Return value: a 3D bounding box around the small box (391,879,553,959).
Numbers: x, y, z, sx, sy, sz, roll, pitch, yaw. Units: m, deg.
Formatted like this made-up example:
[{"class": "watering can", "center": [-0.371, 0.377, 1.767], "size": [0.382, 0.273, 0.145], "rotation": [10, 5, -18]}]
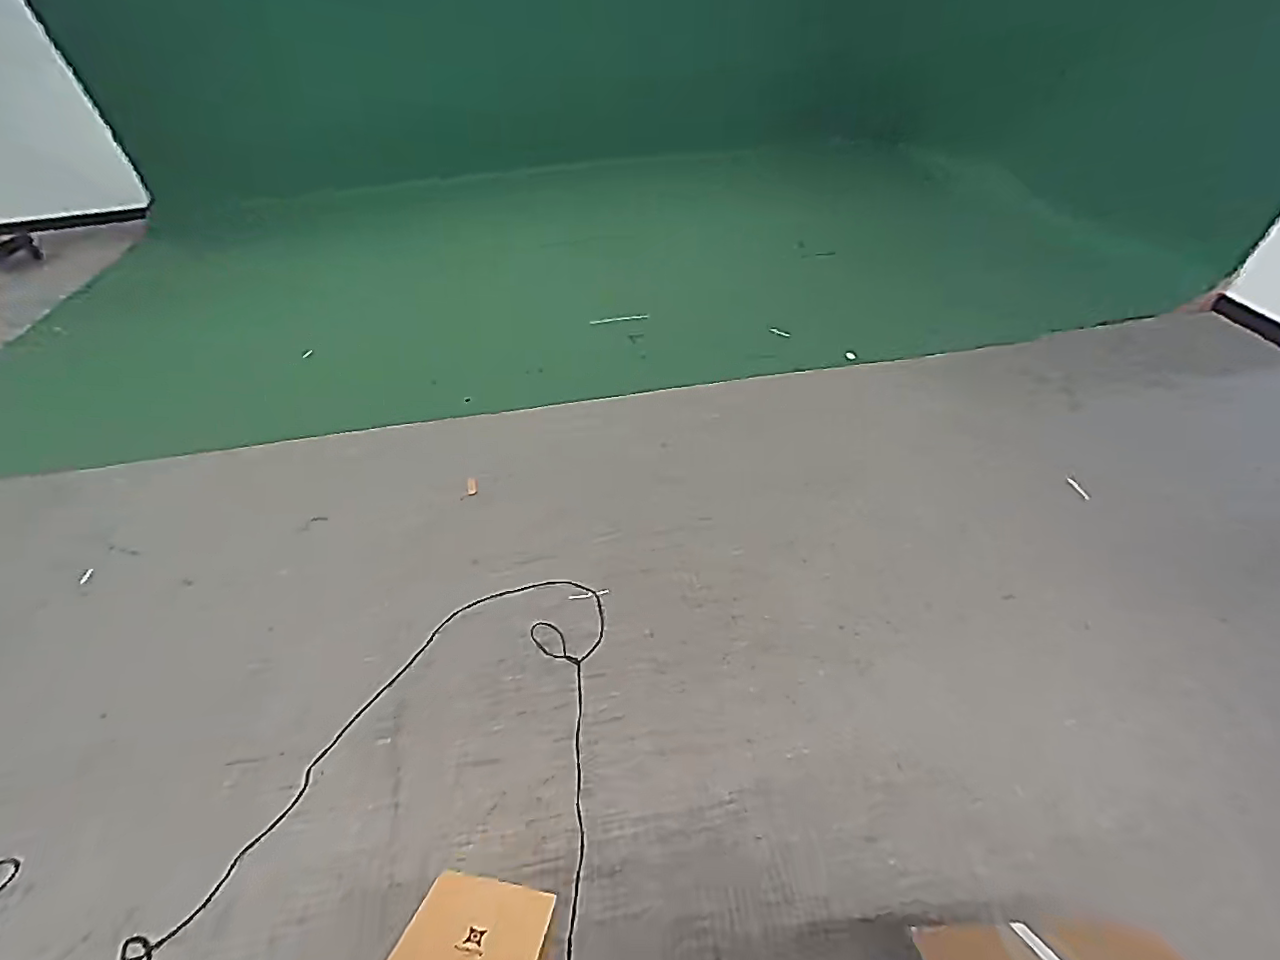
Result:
[{"class": "small box", "center": [-0.217, 0.647, 0.658], "size": [0.168, 0.176, 0.179], "rotation": [8, 4, 5]}]
